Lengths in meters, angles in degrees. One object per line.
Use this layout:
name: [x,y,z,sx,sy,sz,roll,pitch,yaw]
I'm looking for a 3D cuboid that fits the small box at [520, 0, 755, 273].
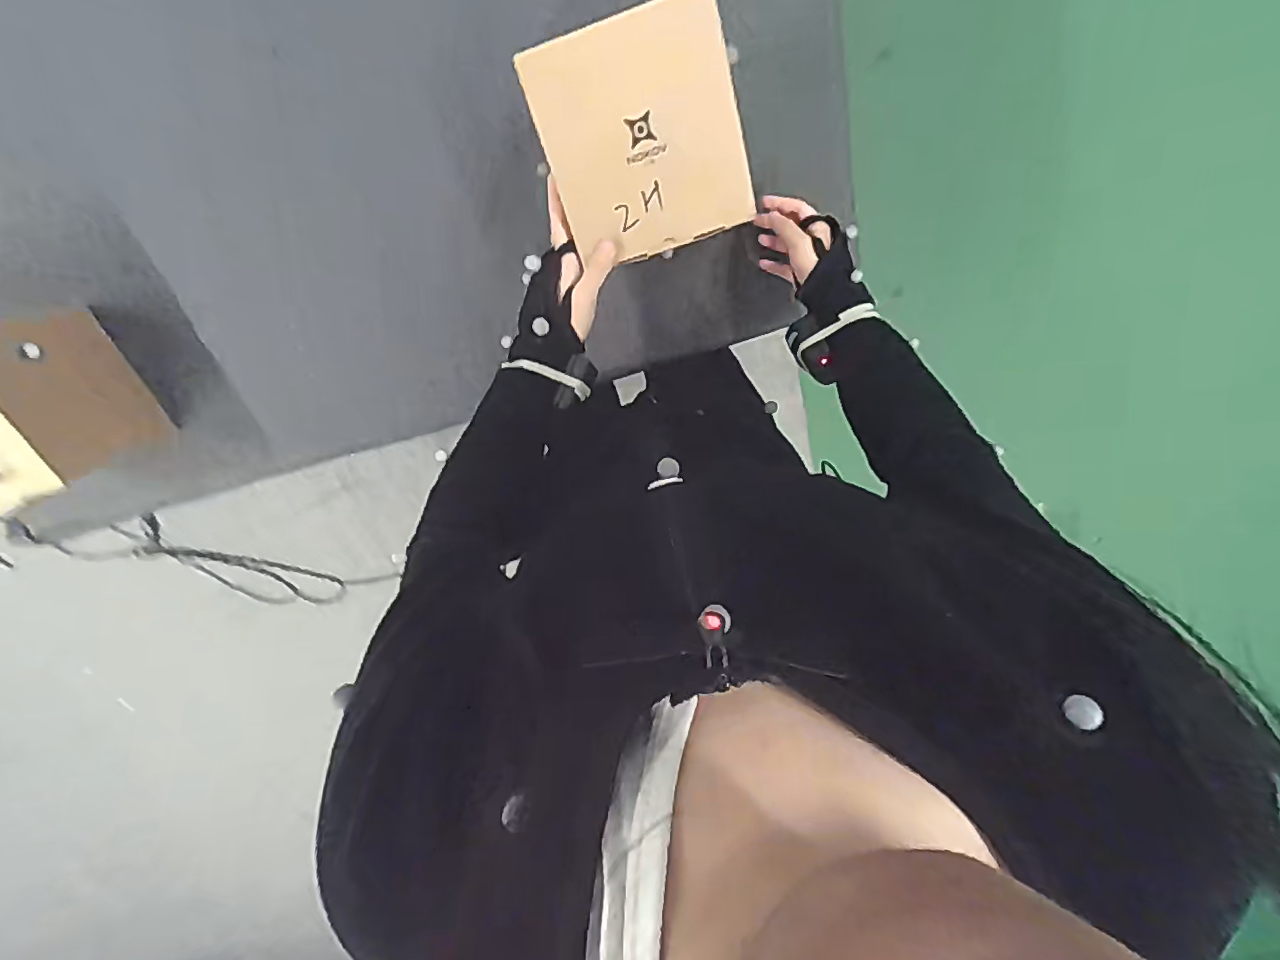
small box: [0.002,-0.323,0.537,0.168,0.176,0.179,-16,115,8]
